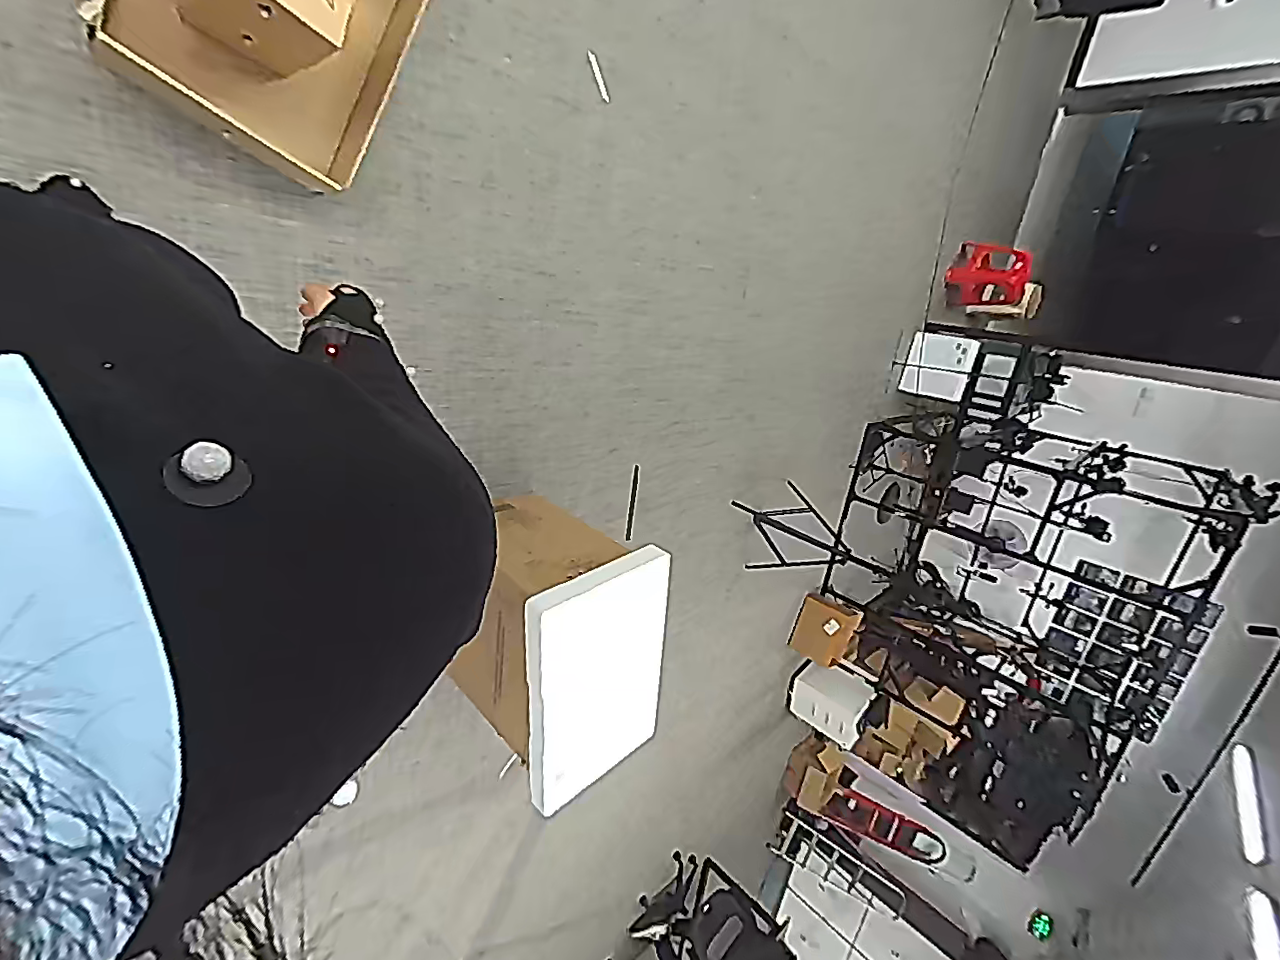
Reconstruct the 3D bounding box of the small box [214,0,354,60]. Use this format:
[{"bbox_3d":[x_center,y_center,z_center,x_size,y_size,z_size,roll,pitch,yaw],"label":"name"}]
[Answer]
[{"bbox_3d":[-0.573,-0.817,0.859,0.179,0.176,0.168,15,95,-51],"label":"small box"}]
